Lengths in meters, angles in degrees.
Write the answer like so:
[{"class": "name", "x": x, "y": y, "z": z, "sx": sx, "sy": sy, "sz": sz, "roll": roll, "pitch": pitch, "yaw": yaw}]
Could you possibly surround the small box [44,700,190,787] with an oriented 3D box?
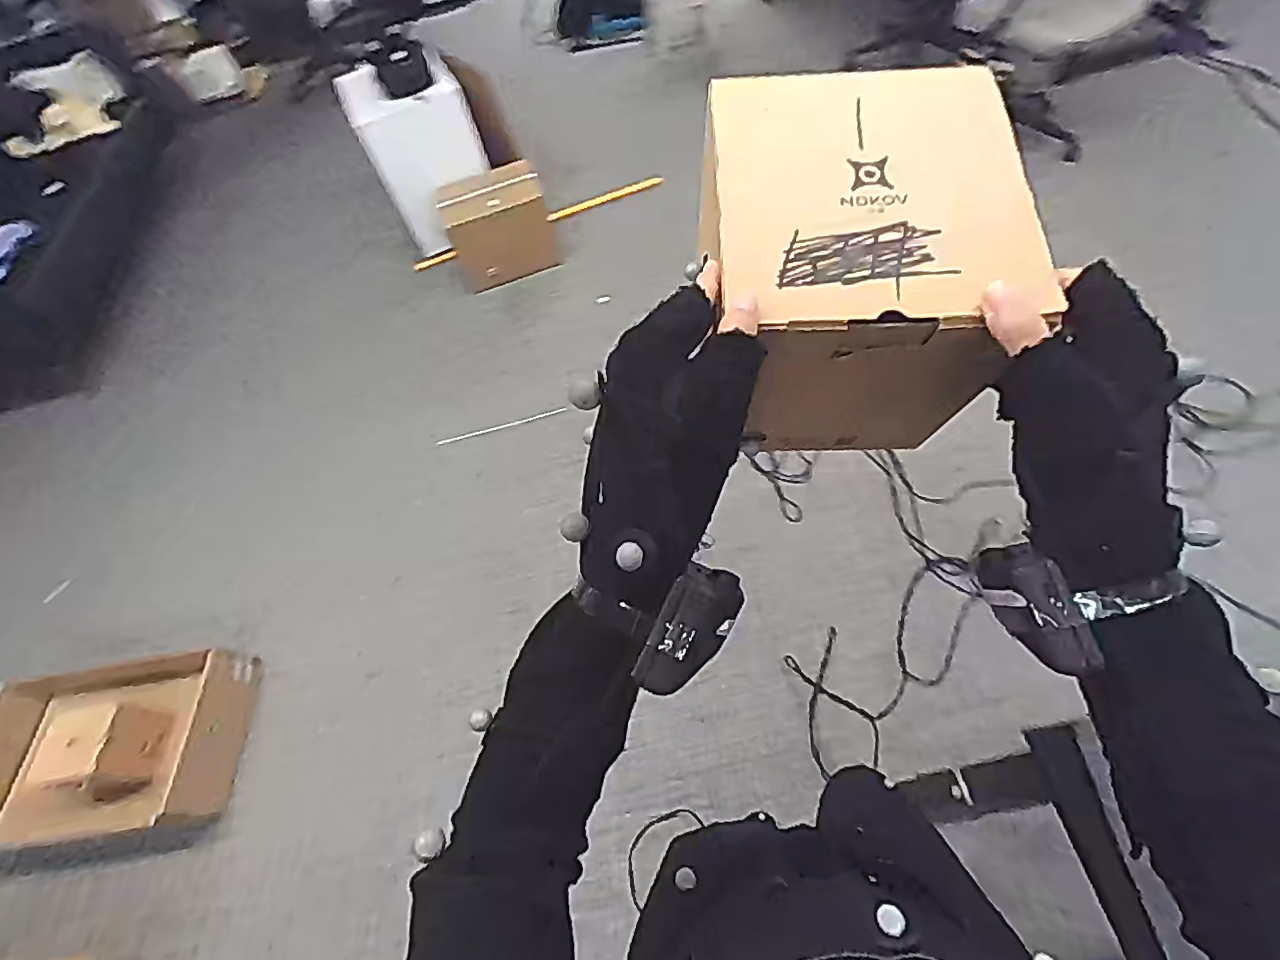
[{"class": "small box", "x": -1.324, "y": 0.678, "z": 1.382, "sx": 0.179, "sy": 0.176, "sz": 0.168, "roll": -11, "pitch": 56, "yaw": 4}]
